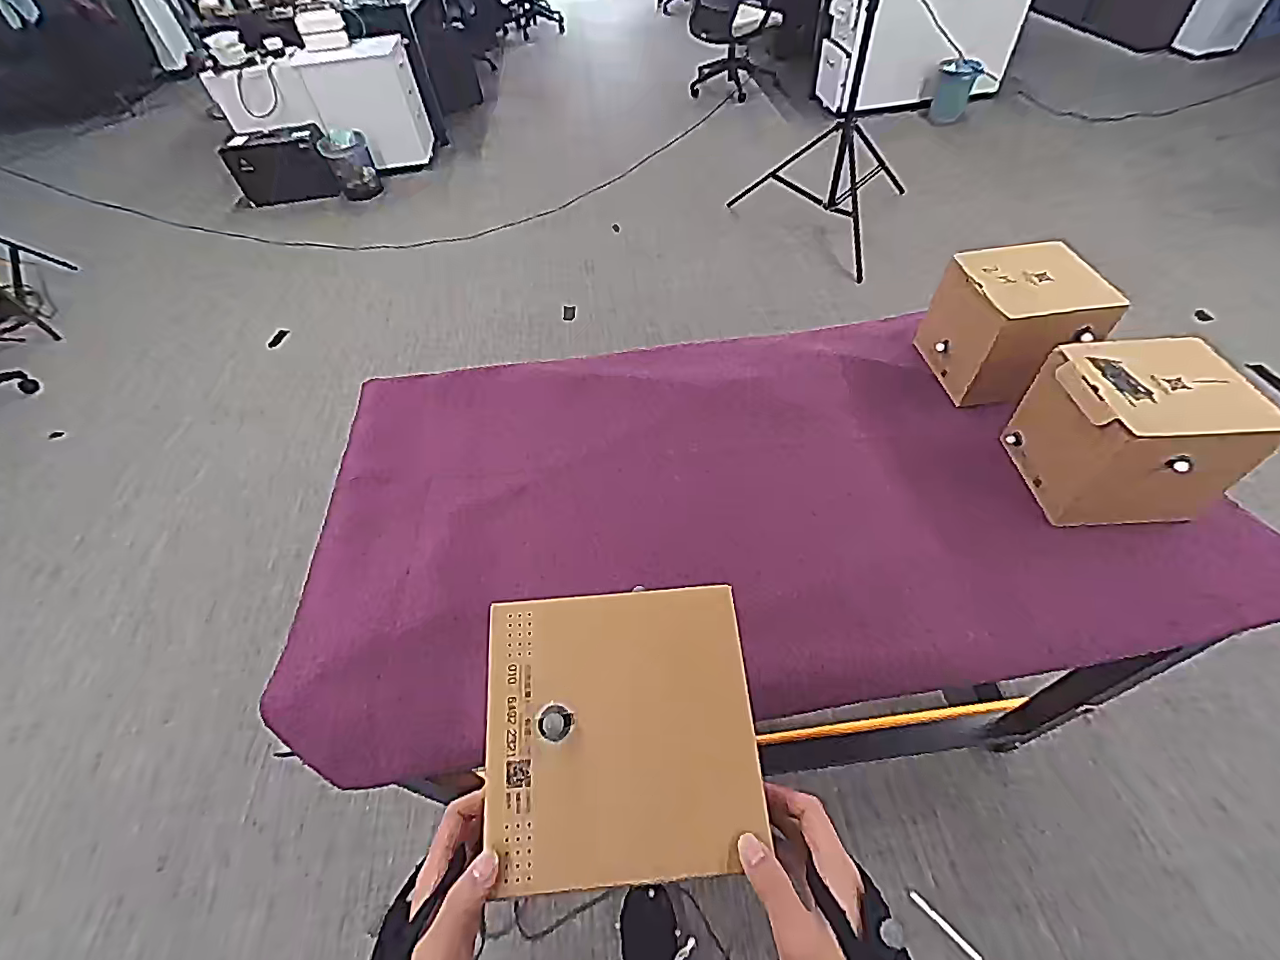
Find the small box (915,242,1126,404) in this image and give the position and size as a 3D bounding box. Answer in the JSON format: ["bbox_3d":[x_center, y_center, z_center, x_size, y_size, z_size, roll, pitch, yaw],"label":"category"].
[{"bbox_3d":[0.566,-0.239,0.836,0.179,0.176,0.168,-8,52,-1],"label":"small box"}]

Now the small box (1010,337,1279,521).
[{"bbox_3d":[0.613,-0.060,0.689,0.179,0.176,0.168,-3,50,3],"label":"small box"}]
